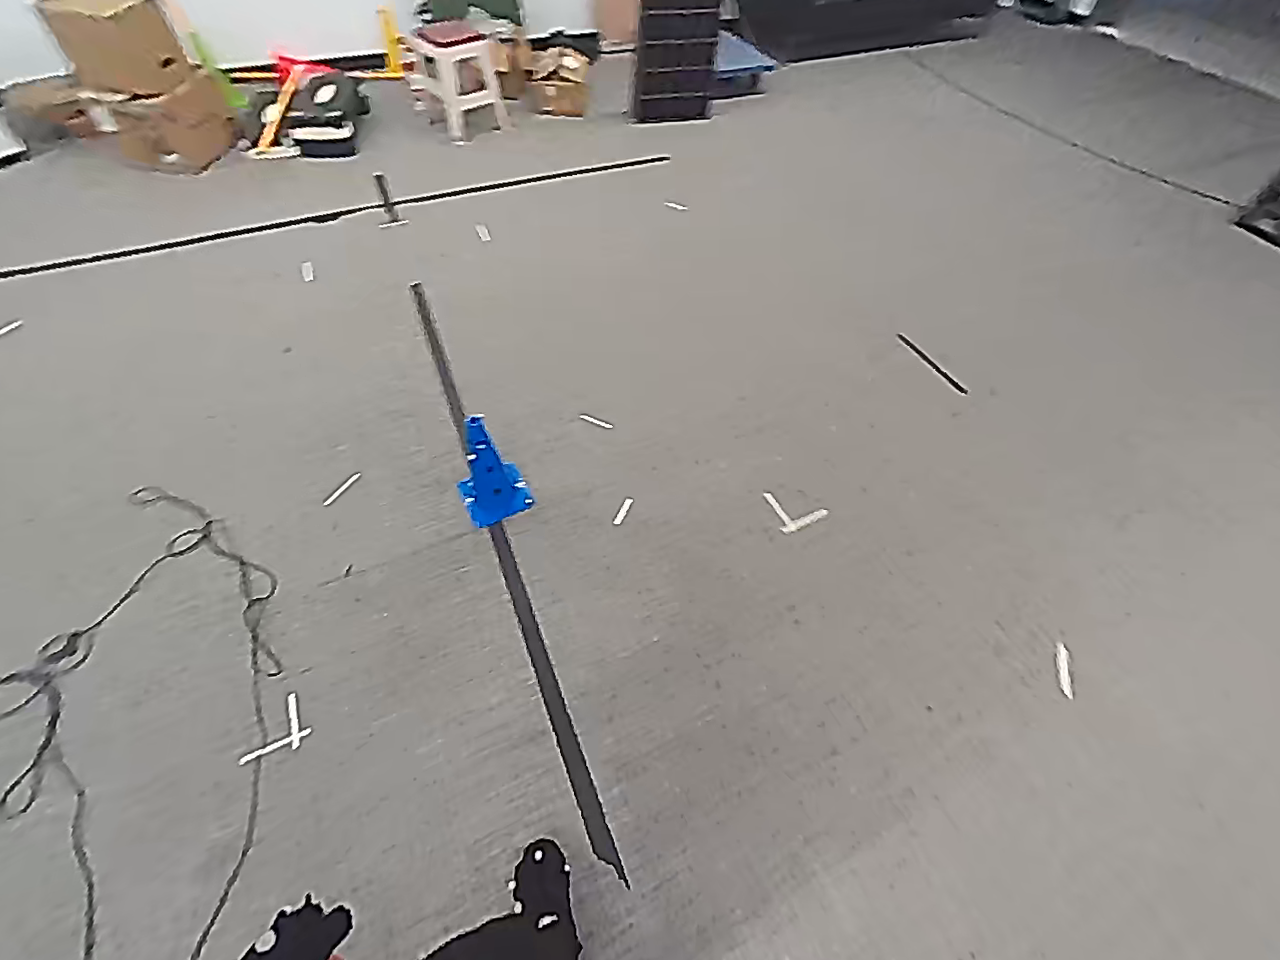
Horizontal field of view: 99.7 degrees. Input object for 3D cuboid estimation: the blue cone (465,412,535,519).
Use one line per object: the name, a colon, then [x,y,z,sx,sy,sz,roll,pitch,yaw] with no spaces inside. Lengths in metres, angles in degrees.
blue cone: [-0.447,-0.062,1.620,0.192,0.380,0.193,-21,58,-19]
